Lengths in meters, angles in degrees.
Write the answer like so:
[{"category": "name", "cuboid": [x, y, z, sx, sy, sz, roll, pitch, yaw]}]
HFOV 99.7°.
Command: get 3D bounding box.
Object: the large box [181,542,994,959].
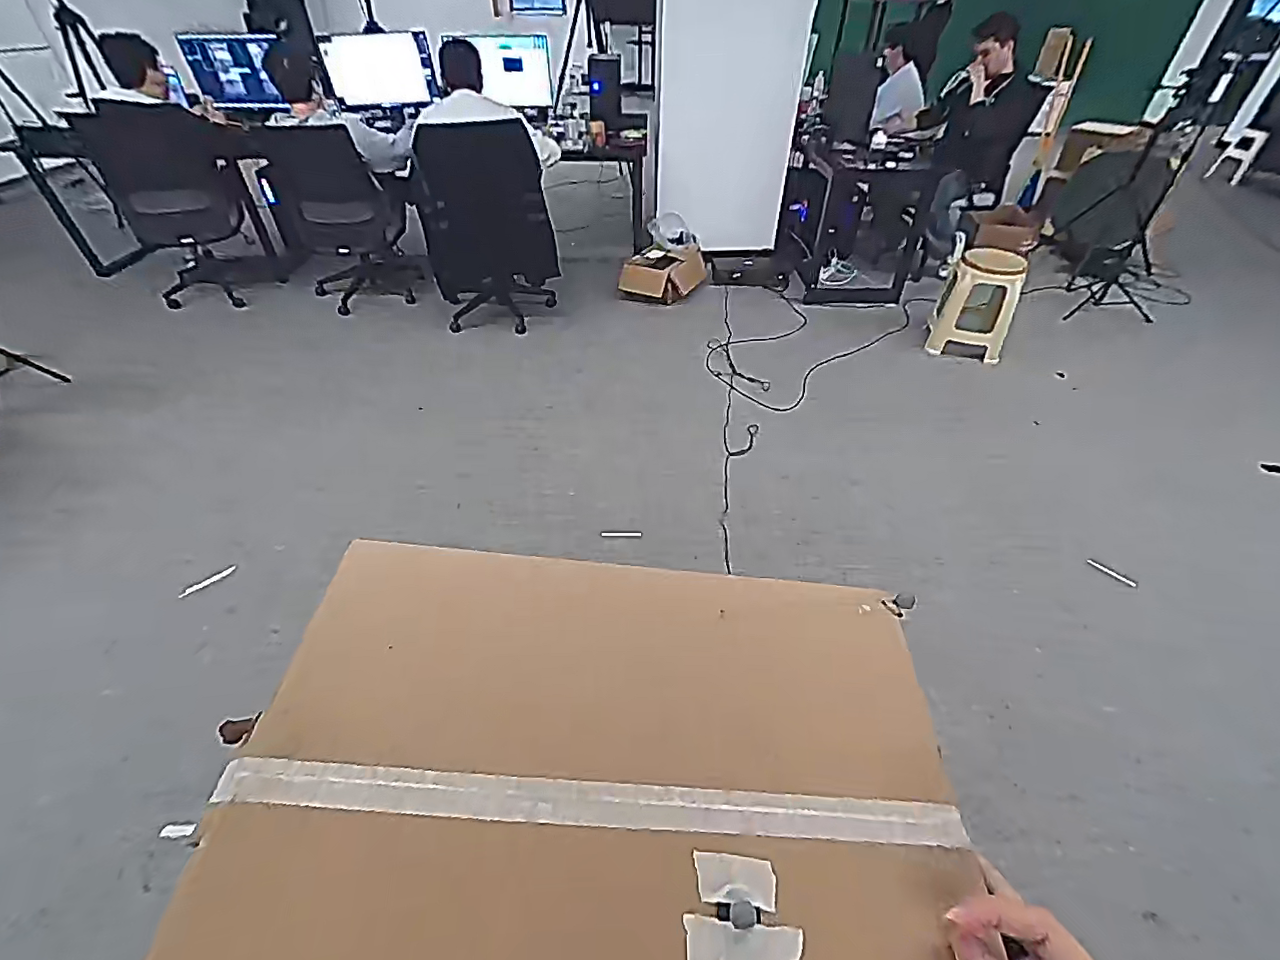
[{"category": "large box", "cuboid": [-0.030, 0.277, 0.424, 0.408, 0.320, 0.320, 7, 49, -4]}]
